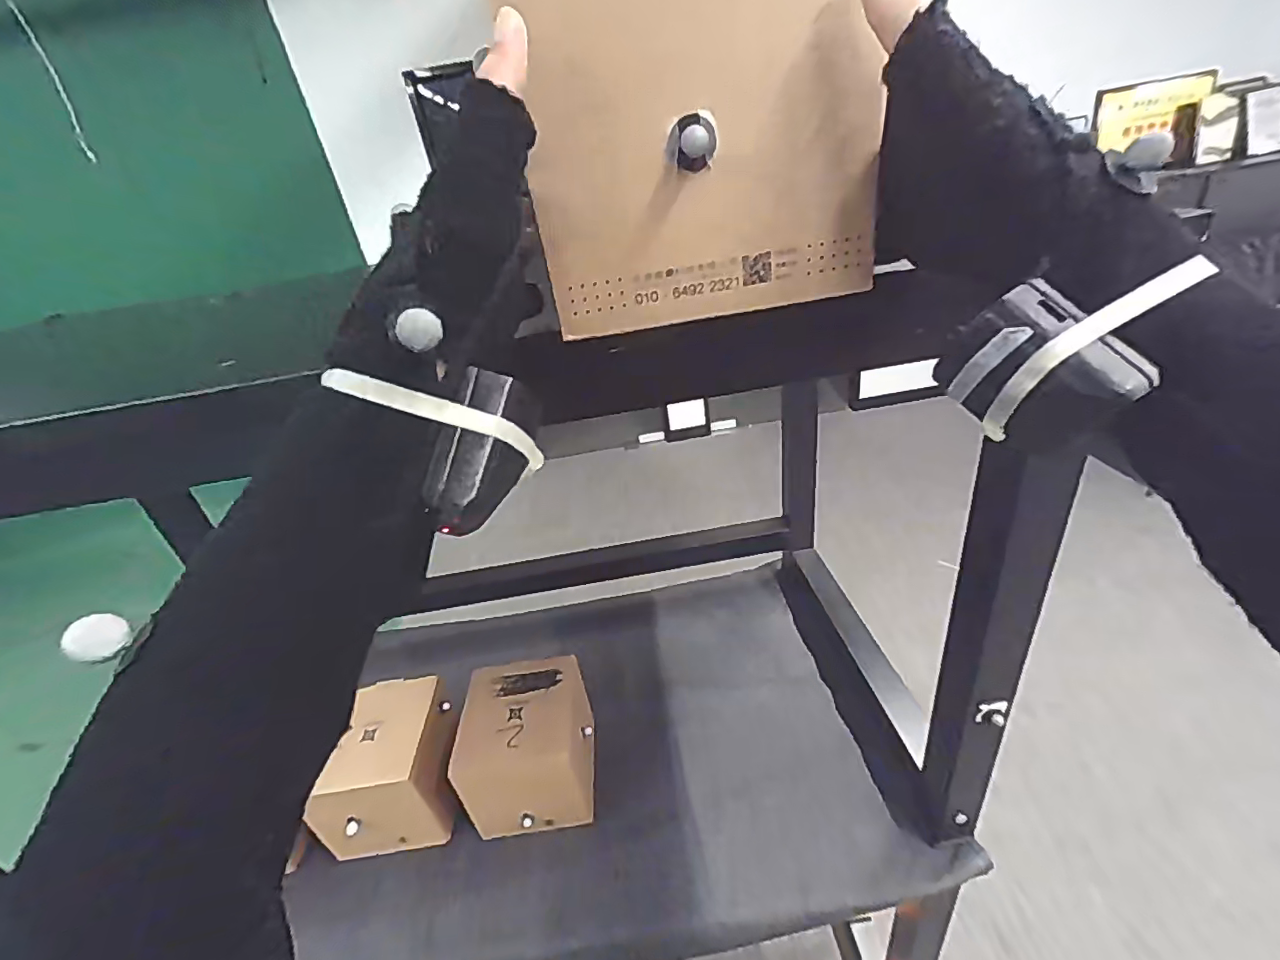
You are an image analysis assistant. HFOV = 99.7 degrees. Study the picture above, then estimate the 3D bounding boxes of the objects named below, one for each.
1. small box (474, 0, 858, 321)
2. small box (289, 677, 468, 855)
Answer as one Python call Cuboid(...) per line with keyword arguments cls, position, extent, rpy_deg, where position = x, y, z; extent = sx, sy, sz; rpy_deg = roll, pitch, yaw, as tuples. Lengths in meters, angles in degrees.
Cuboid(cls="small box", position=(0.018, -0.199, 0.317), extent=(0.168, 0.176, 0.179), rpy_deg=(-9, 29, 1))
Cuboid(cls="small box", position=(-0.377, 0.435, 0.821), extent=(0.168, 0.176, 0.179), rpy_deg=(-9, 29, 0))
